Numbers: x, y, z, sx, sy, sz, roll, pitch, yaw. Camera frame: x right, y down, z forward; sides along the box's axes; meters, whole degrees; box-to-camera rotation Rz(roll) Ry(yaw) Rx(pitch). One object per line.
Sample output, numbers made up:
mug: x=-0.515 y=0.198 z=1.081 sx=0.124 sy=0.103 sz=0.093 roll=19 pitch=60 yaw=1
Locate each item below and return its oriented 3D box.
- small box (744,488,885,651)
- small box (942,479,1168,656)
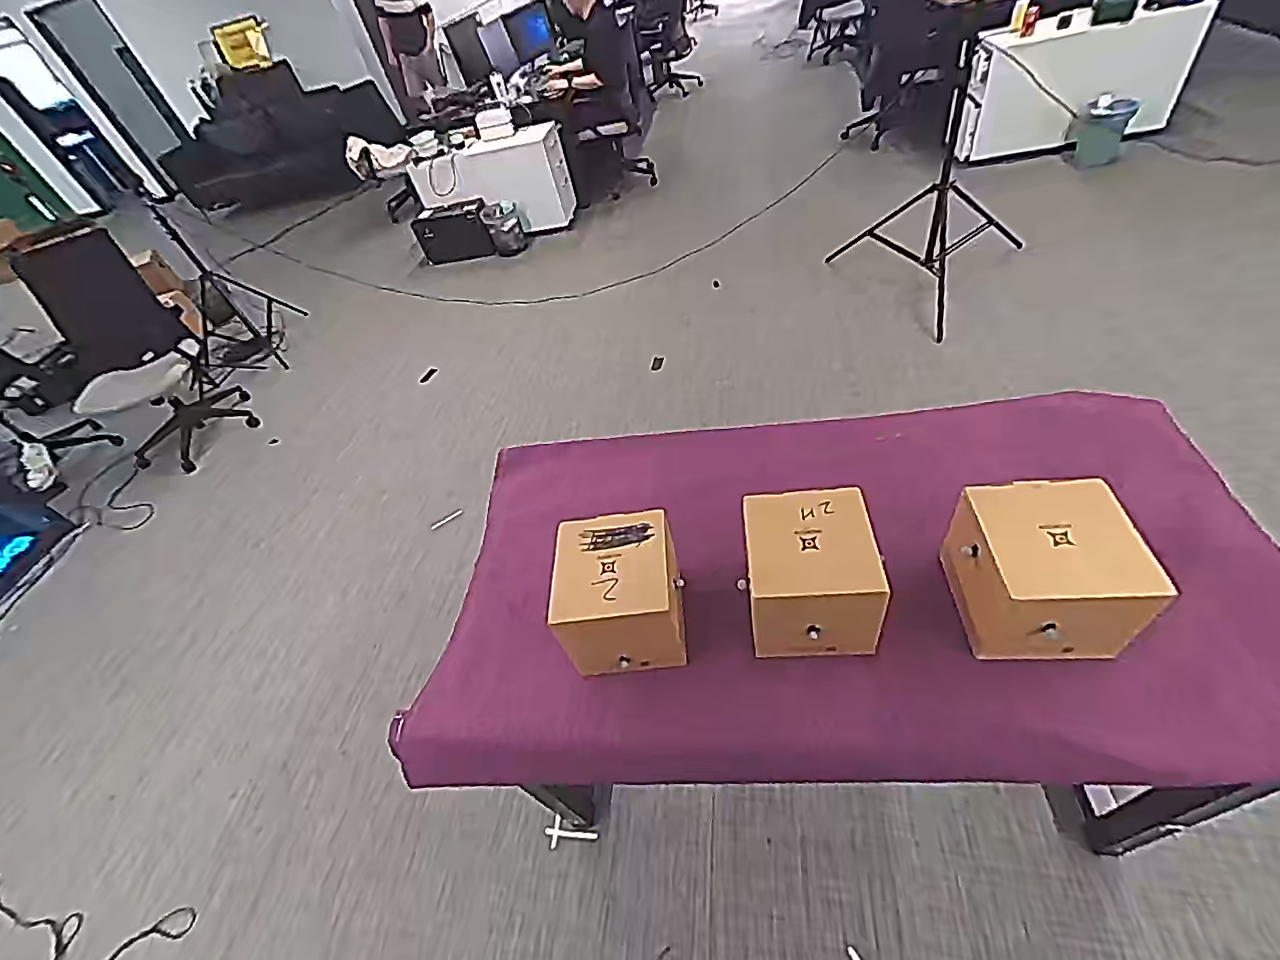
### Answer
small box: x=0.242 y=0.135 z=0.784 sx=0.168 sy=0.176 sz=0.179 roll=-4 pitch=45 yaw=10
small box: x=0.526 y=0.123 z=0.721 sx=0.168 sy=0.176 sz=0.179 roll=-4 pitch=47 yaw=12
